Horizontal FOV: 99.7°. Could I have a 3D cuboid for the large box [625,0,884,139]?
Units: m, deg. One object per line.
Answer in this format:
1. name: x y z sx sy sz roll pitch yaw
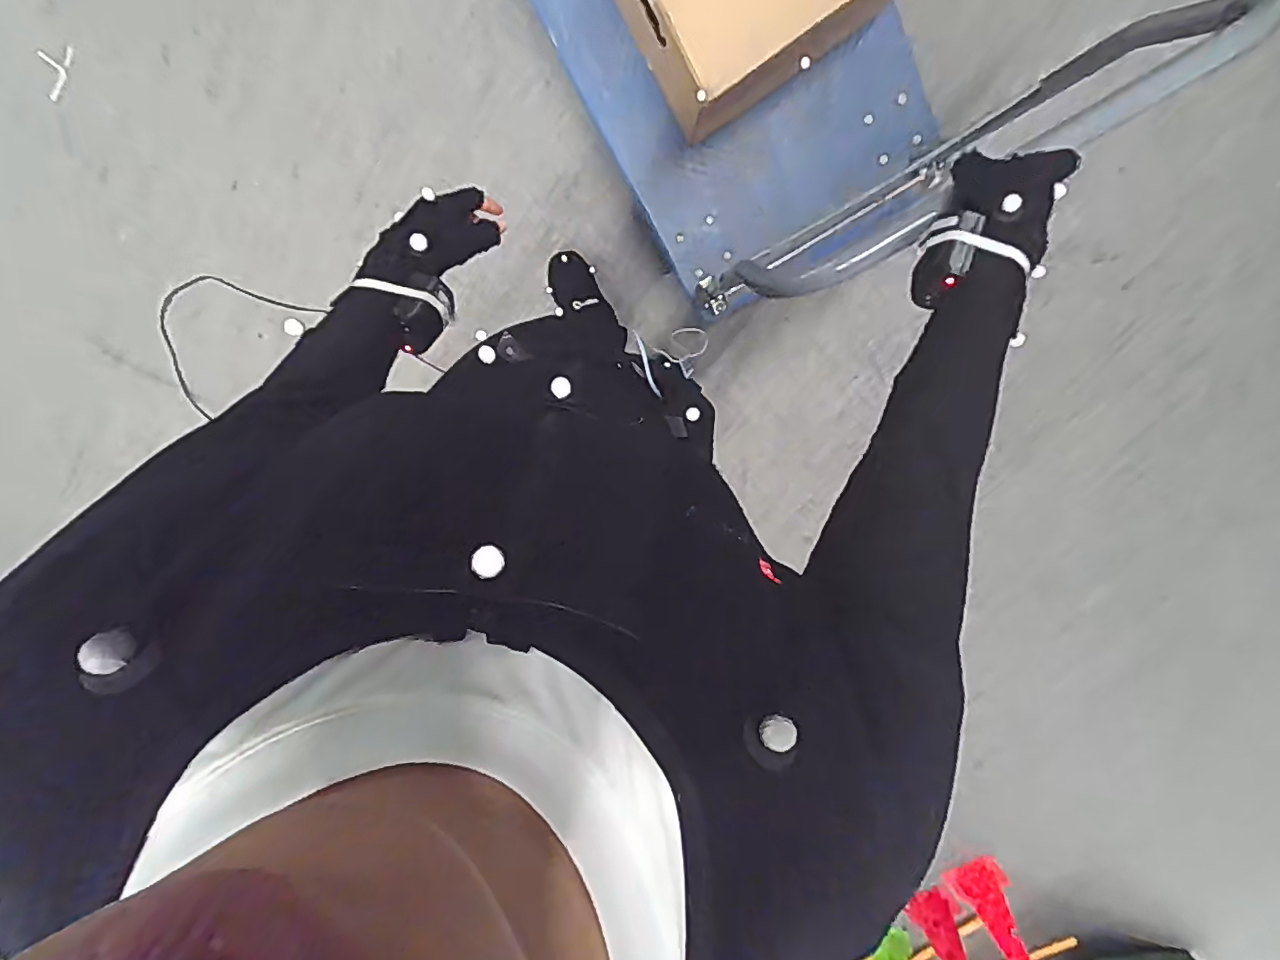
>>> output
1. large box: 0.196 -0.842 0.861 0.408 0.320 0.320 -30 107 13
